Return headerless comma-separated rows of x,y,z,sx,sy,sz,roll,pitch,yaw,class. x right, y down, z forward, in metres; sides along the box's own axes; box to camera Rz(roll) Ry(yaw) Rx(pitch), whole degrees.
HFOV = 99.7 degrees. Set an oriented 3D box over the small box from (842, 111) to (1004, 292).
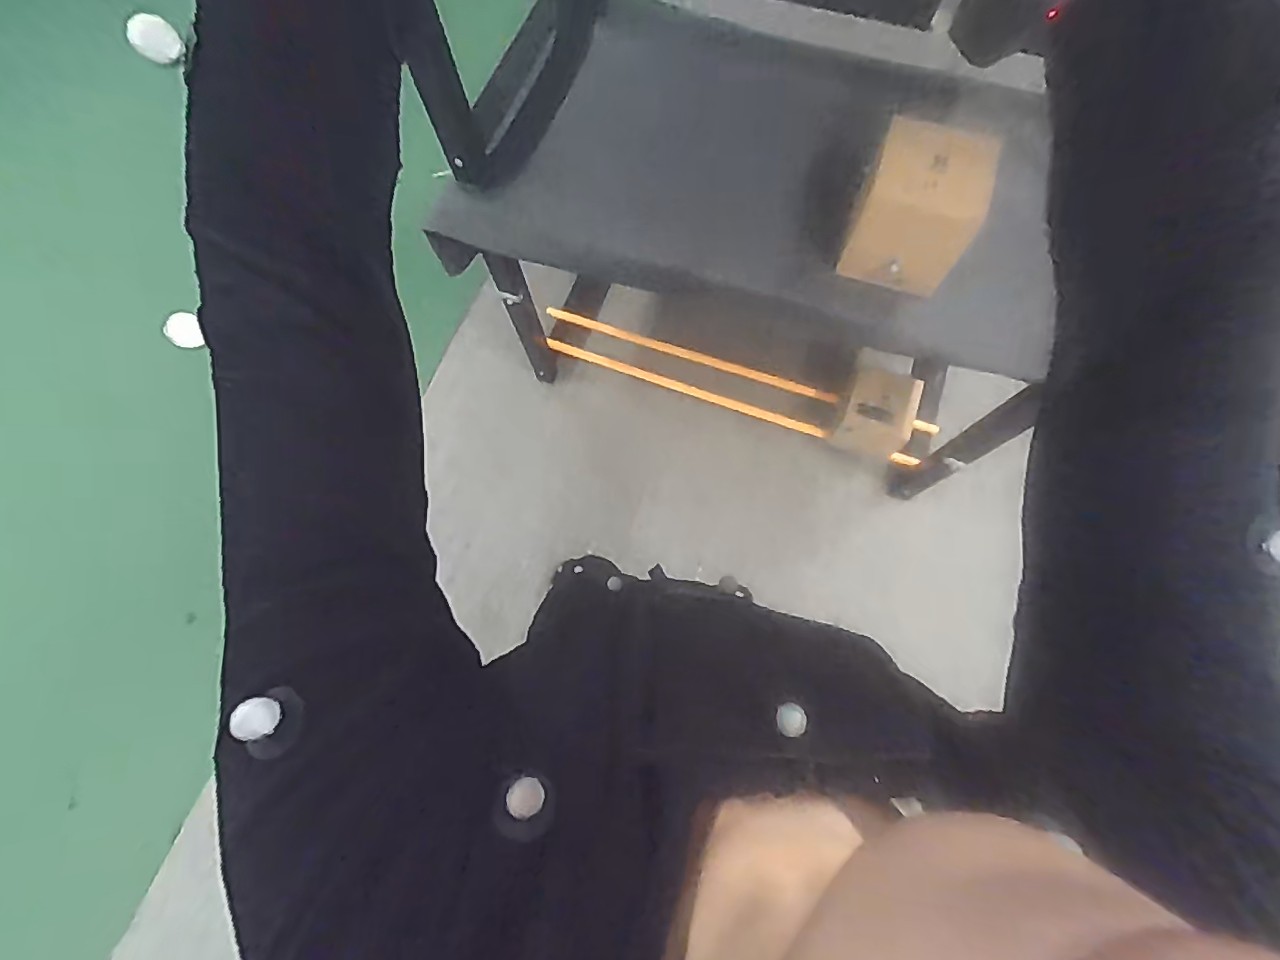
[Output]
0.444,-0.440,0.870,0.168,0.176,0.179,18,72,8,small box
